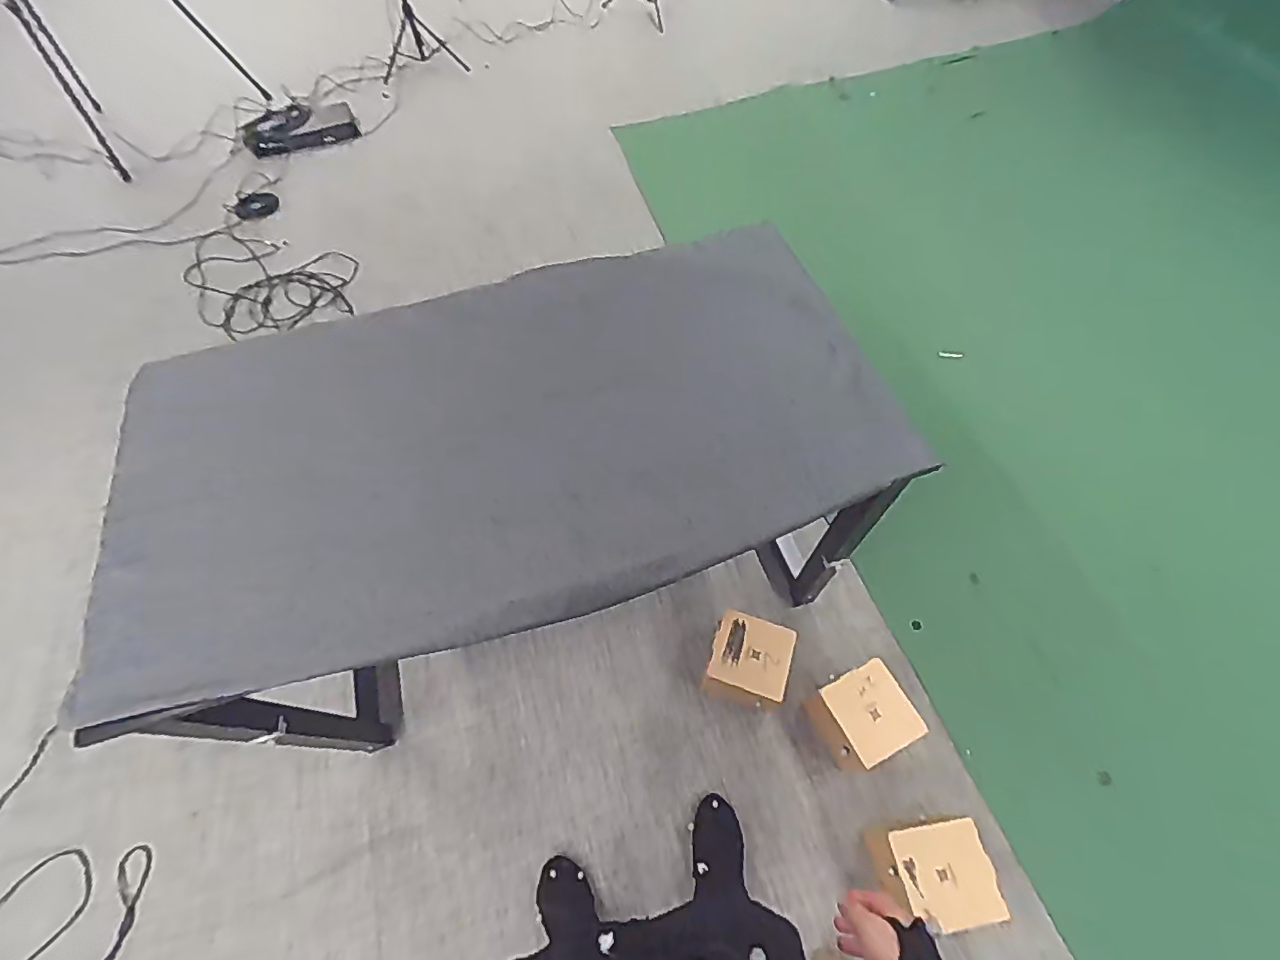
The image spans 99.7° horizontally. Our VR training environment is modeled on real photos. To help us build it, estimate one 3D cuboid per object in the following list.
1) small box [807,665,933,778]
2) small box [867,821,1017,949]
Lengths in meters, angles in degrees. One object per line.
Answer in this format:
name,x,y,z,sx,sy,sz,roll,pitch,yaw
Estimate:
small box,0.508,0.546,1.221,0.168,0.176,0.179,-24,62,-11
small box,0.587,0.793,1.077,0.179,0.176,0.168,-9,61,-2
